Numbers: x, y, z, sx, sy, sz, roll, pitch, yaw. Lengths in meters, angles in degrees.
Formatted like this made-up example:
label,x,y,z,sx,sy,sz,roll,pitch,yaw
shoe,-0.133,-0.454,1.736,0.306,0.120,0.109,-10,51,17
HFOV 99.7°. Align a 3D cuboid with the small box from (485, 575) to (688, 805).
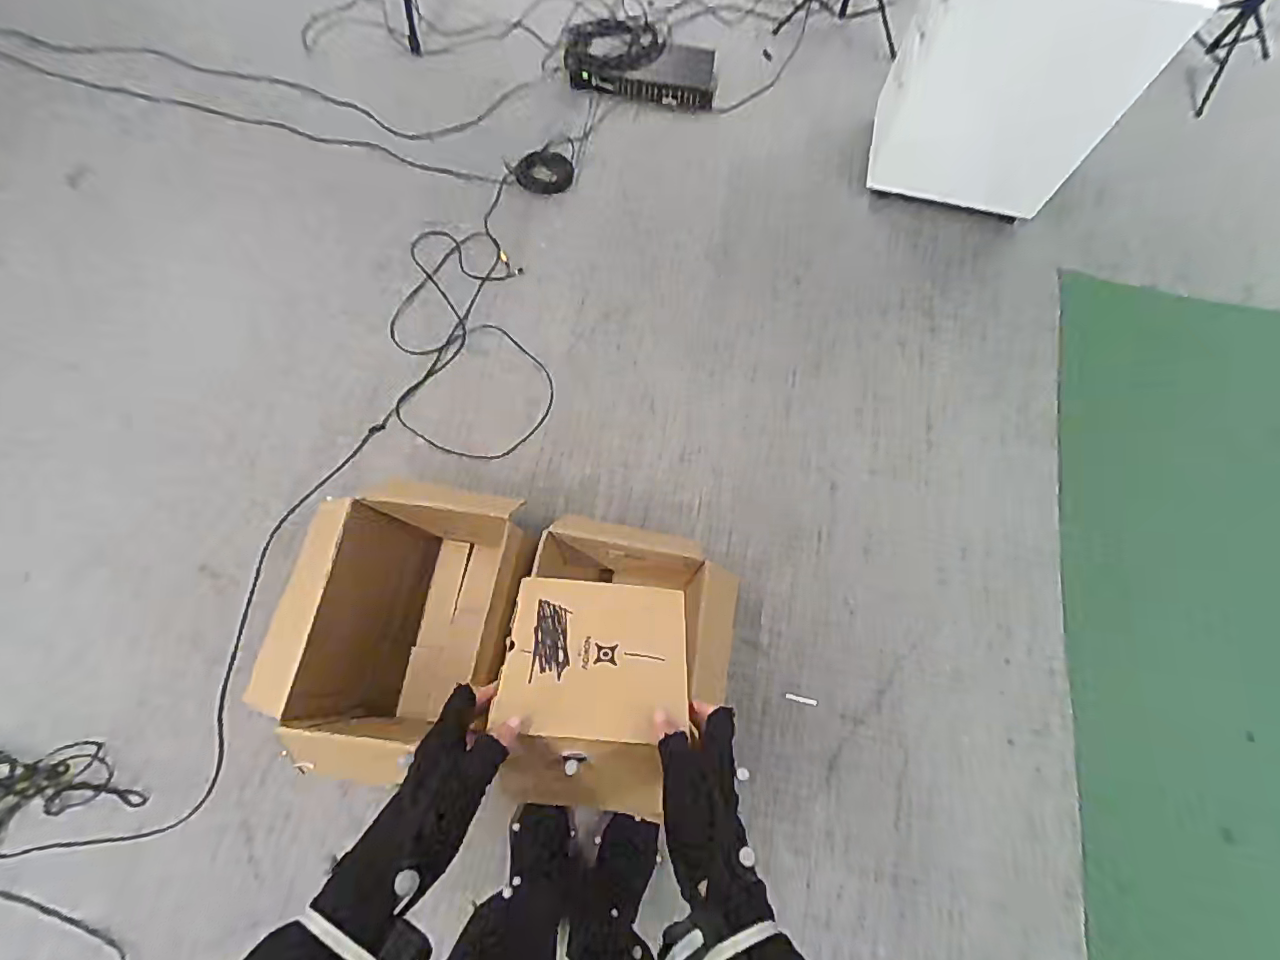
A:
label,x,y,z,sx,sy,sz,roll,pitch,yaw
small box,-0.050,0.222,0.568,0.179,0.176,0.168,6,42,-3
